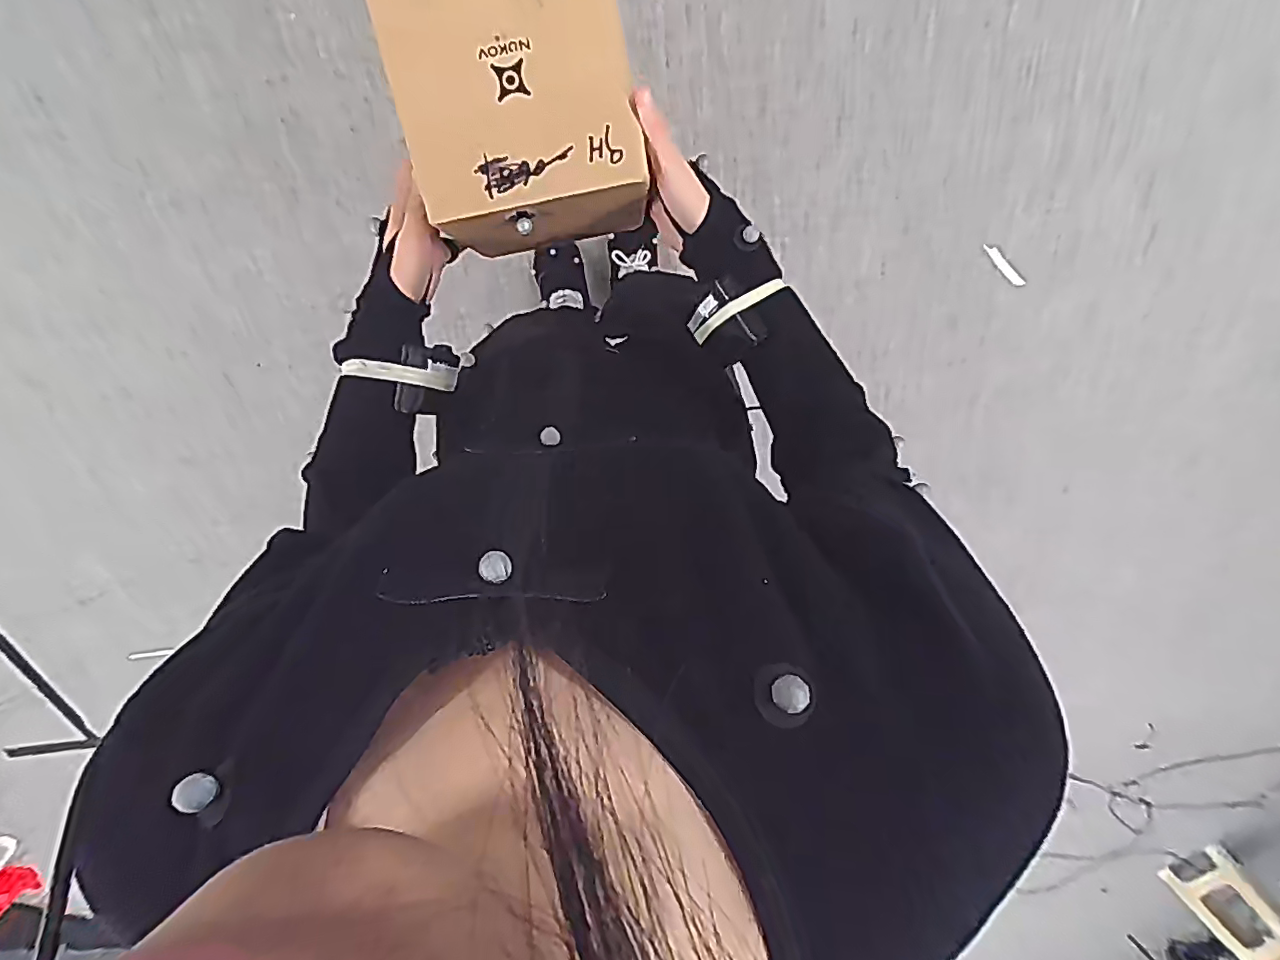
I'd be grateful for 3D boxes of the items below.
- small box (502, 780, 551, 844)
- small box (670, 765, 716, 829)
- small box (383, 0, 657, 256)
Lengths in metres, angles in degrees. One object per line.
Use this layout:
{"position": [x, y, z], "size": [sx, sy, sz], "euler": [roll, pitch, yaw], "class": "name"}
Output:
{"position": [-0.468, 1.371, 2.240], "size": [0.179, 0.176, 0.168], "euler": [7, 117, -9], "class": "small box"}
{"position": [0.221, 1.319, 2.262], "size": [0.168, 0.176, 0.179], "euler": [-7, 120, -1], "class": "small box"}
{"position": [-0.085, -0.303, 0.447], "size": [0.168, 0.176, 0.179], "euler": [-11, 104, 1], "class": "small box"}
